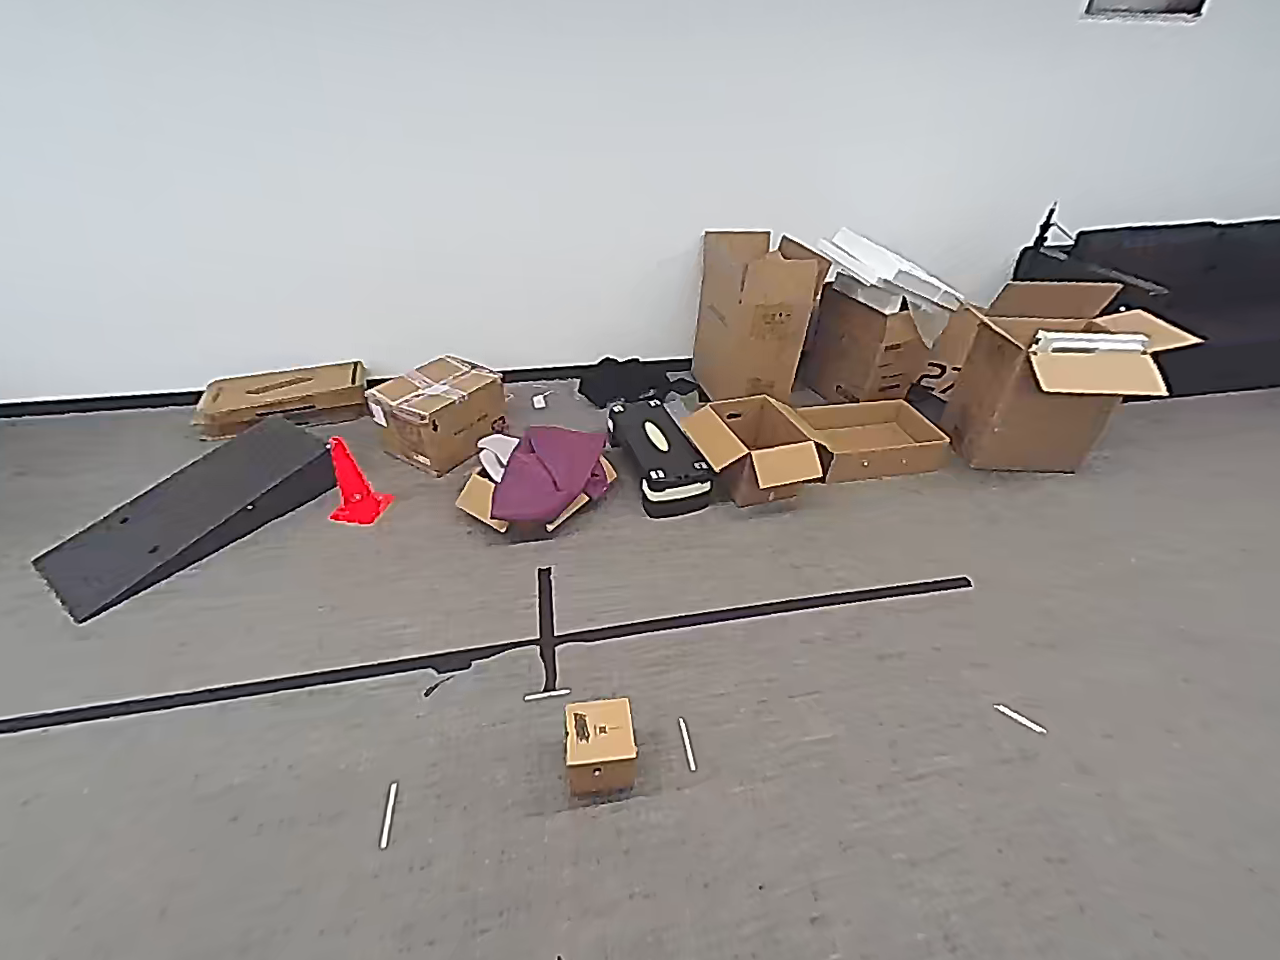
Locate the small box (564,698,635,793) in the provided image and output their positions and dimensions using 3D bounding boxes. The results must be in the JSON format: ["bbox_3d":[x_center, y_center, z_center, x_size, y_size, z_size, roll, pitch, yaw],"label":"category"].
[{"bbox_3d":[-0.110,0.716,1.454,0.179,0.176,0.168,-3,38,-8],"label":"small box"}]
